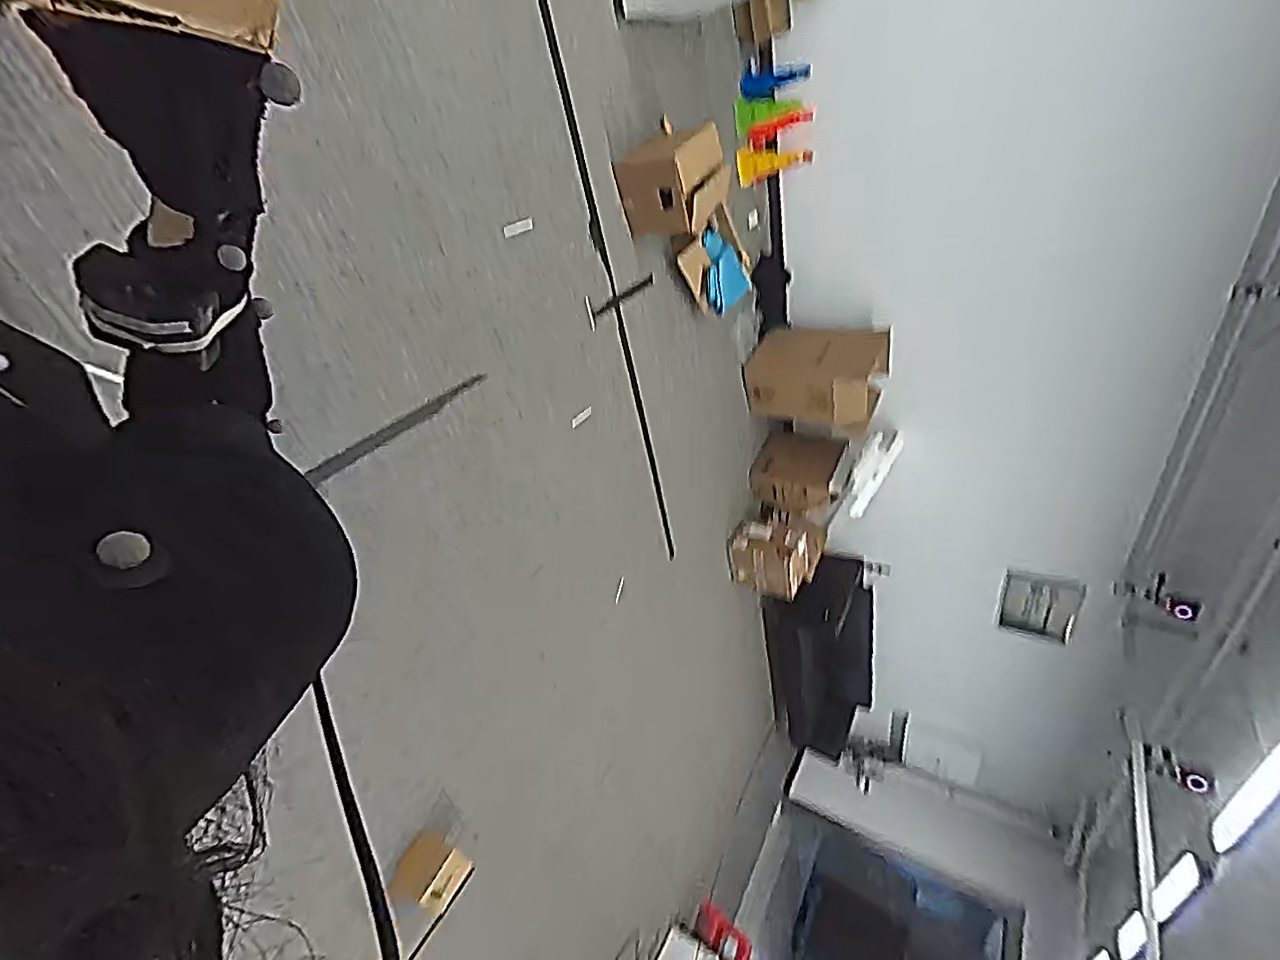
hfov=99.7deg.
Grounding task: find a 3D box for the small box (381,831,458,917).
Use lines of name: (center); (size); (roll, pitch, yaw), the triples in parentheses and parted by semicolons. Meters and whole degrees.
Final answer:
small box: (-0.807, 1.427, 1.963); (0.179, 0.176, 0.168); (-54, 141, -37)
